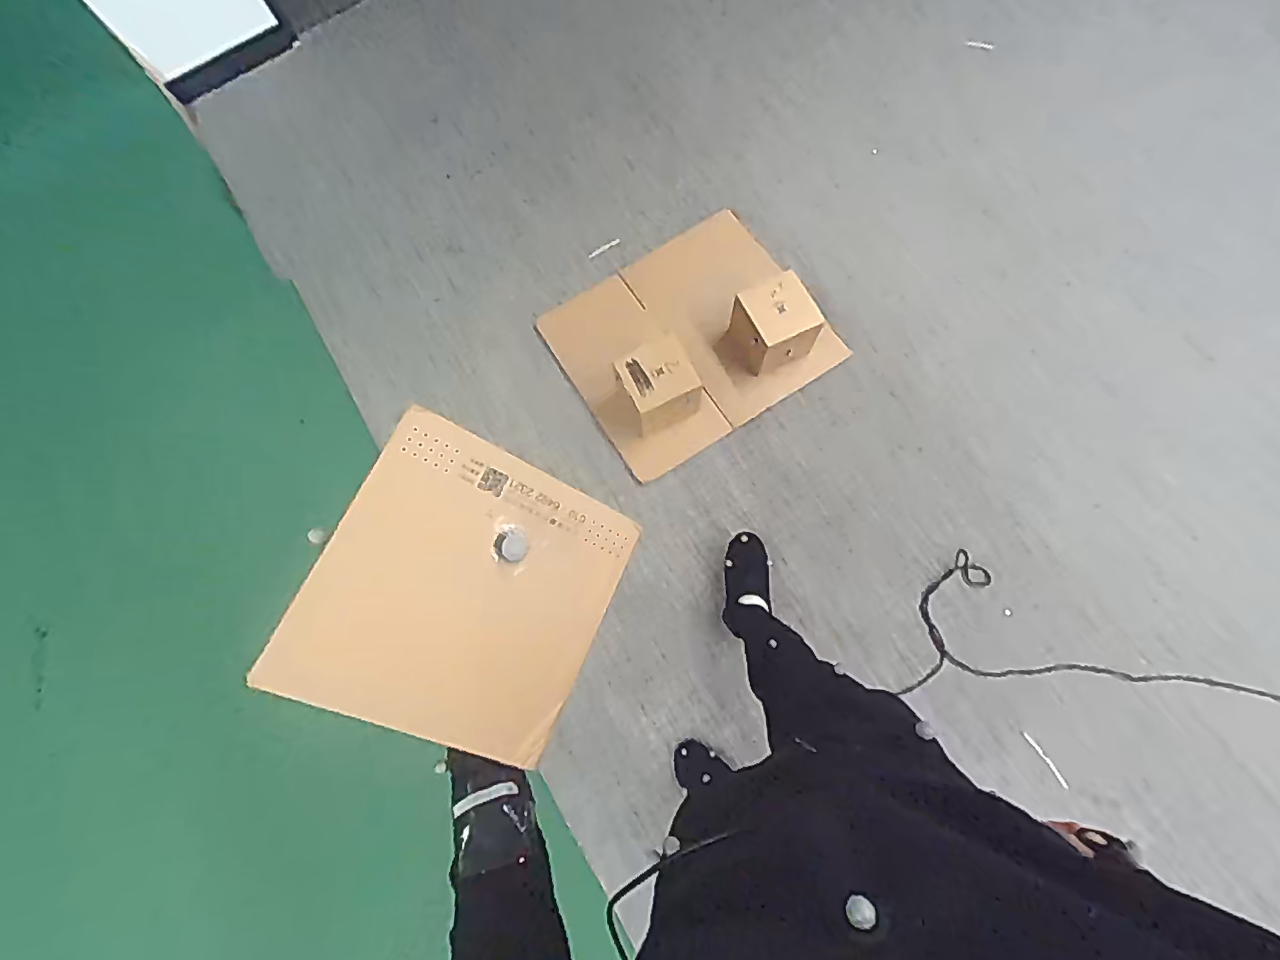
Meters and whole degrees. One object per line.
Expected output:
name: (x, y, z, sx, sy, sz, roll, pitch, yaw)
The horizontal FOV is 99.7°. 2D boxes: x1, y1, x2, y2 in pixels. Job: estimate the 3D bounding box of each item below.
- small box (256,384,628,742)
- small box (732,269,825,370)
small box: (-0.132, 0.054, 0.394, 0.168, 0.179, 0.176, 30, 74, -22)
small box: (0.362, -0.416, 1.443, 0.168, 0.176, 0.179, -24, 74, -4)
